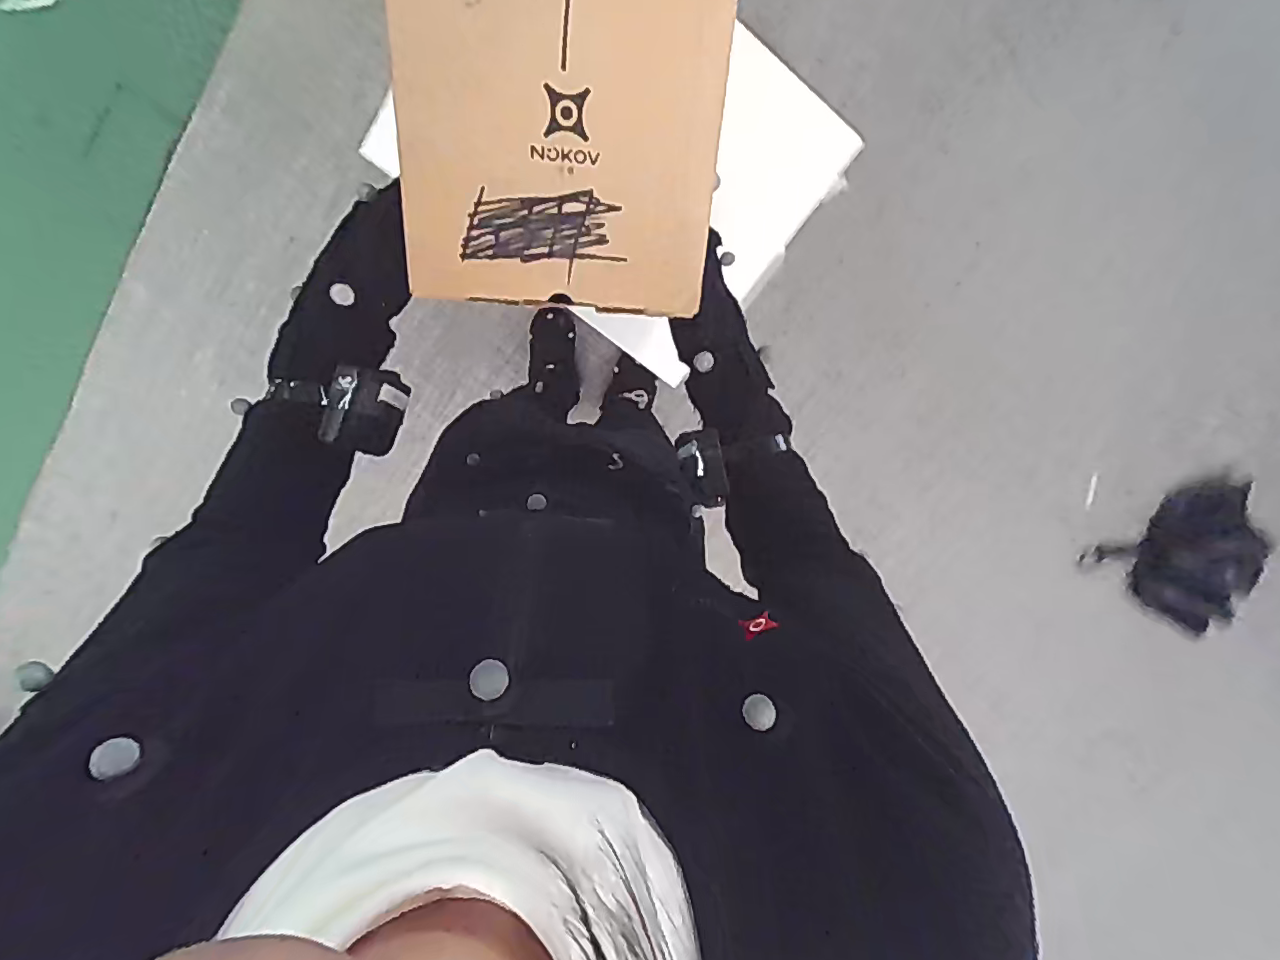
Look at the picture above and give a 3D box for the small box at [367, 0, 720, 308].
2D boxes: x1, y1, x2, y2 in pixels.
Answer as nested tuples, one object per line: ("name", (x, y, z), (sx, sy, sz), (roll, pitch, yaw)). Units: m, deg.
("small box", (-0.055, -0.220, 0.345), (0.168, 0.176, 0.179), (1, 117, -8))
